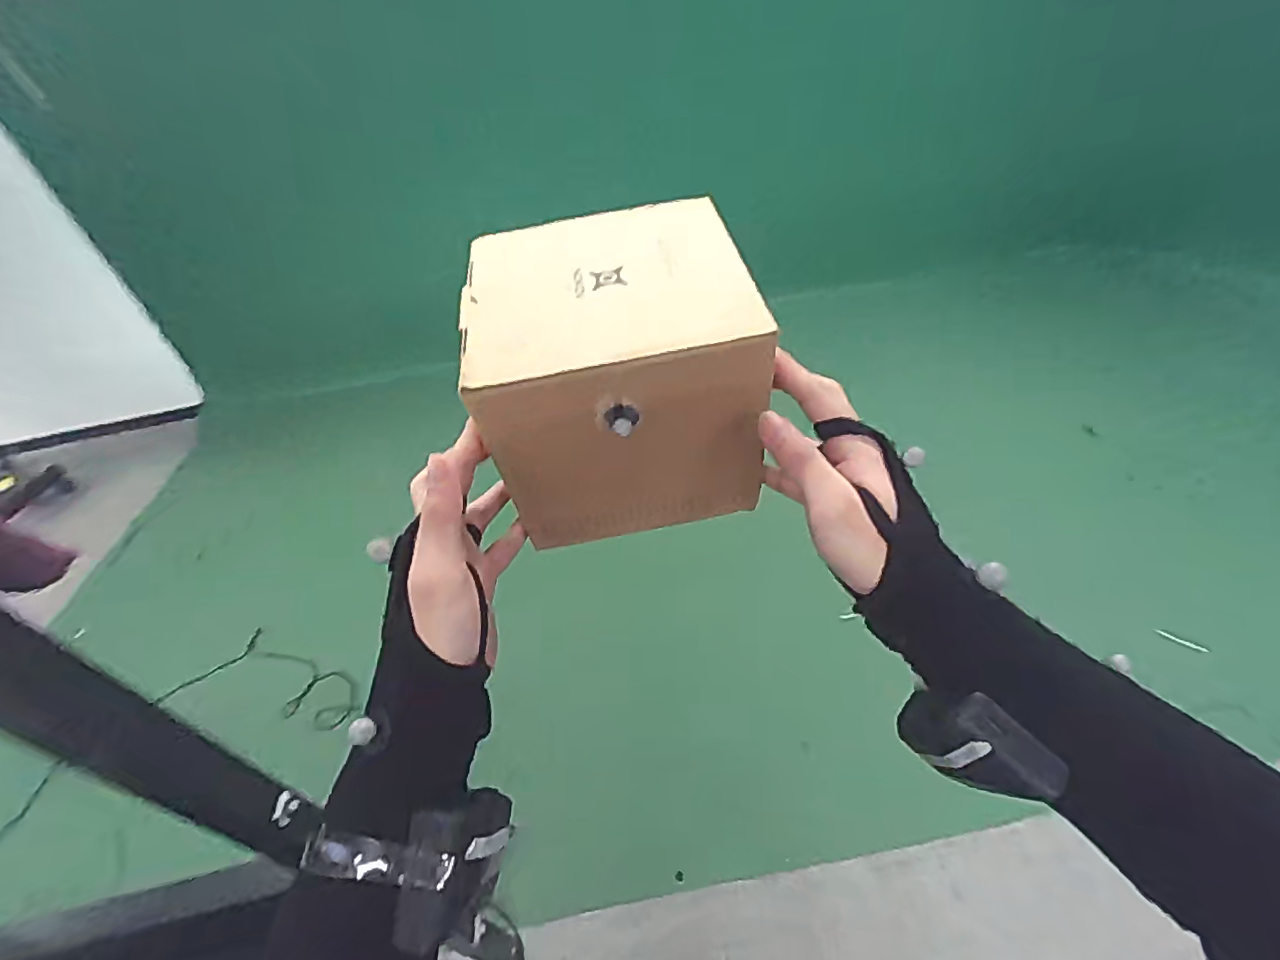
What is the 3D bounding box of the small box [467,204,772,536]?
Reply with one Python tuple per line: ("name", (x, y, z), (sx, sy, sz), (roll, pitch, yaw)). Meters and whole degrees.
("small box", (-0.010, -0.075, 0.408), (0.179, 0.176, 0.168), (-10, 51, 0))
